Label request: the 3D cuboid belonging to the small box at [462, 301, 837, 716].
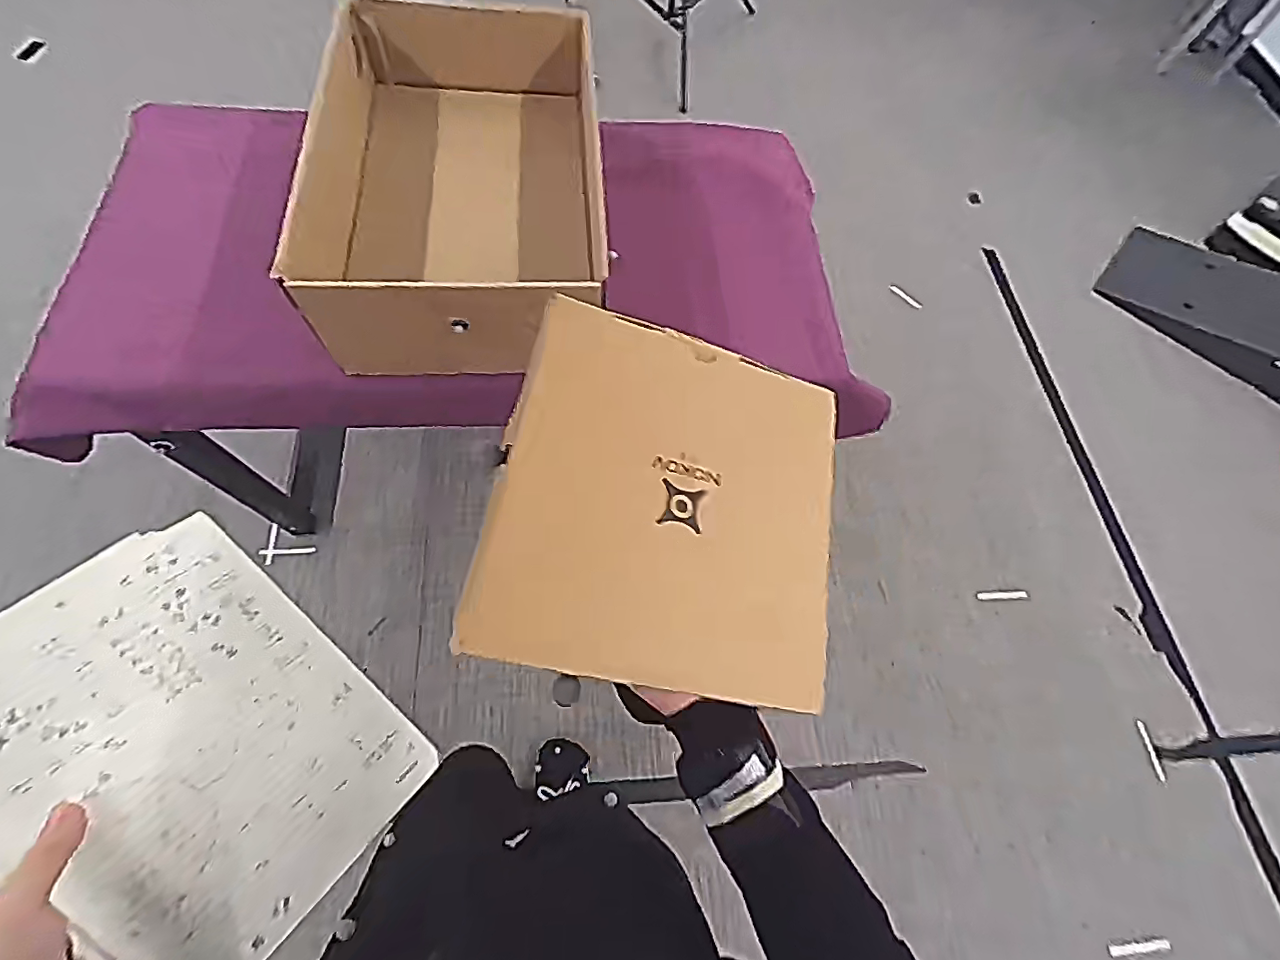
[{"bbox_3d":[-0.003,0.033,0.330,0.168,0.176,0.179,15,67,-14],"label":"small box"}]
